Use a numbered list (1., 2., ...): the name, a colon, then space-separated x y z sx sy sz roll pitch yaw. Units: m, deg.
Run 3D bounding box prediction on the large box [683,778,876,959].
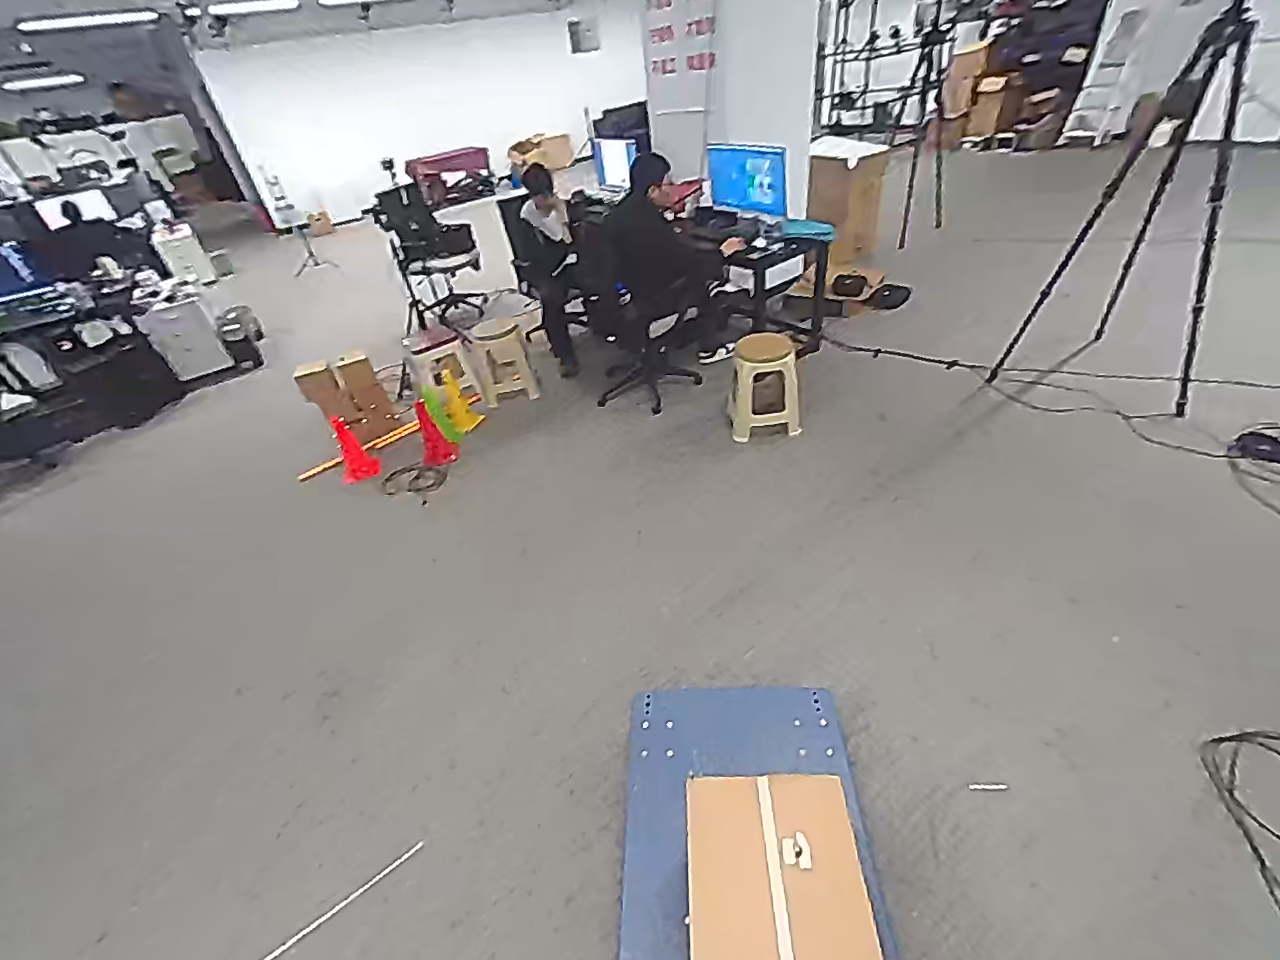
1. large box: 0.256 0.864 1.059 0.320 0.320 0.408 -4 37 6
